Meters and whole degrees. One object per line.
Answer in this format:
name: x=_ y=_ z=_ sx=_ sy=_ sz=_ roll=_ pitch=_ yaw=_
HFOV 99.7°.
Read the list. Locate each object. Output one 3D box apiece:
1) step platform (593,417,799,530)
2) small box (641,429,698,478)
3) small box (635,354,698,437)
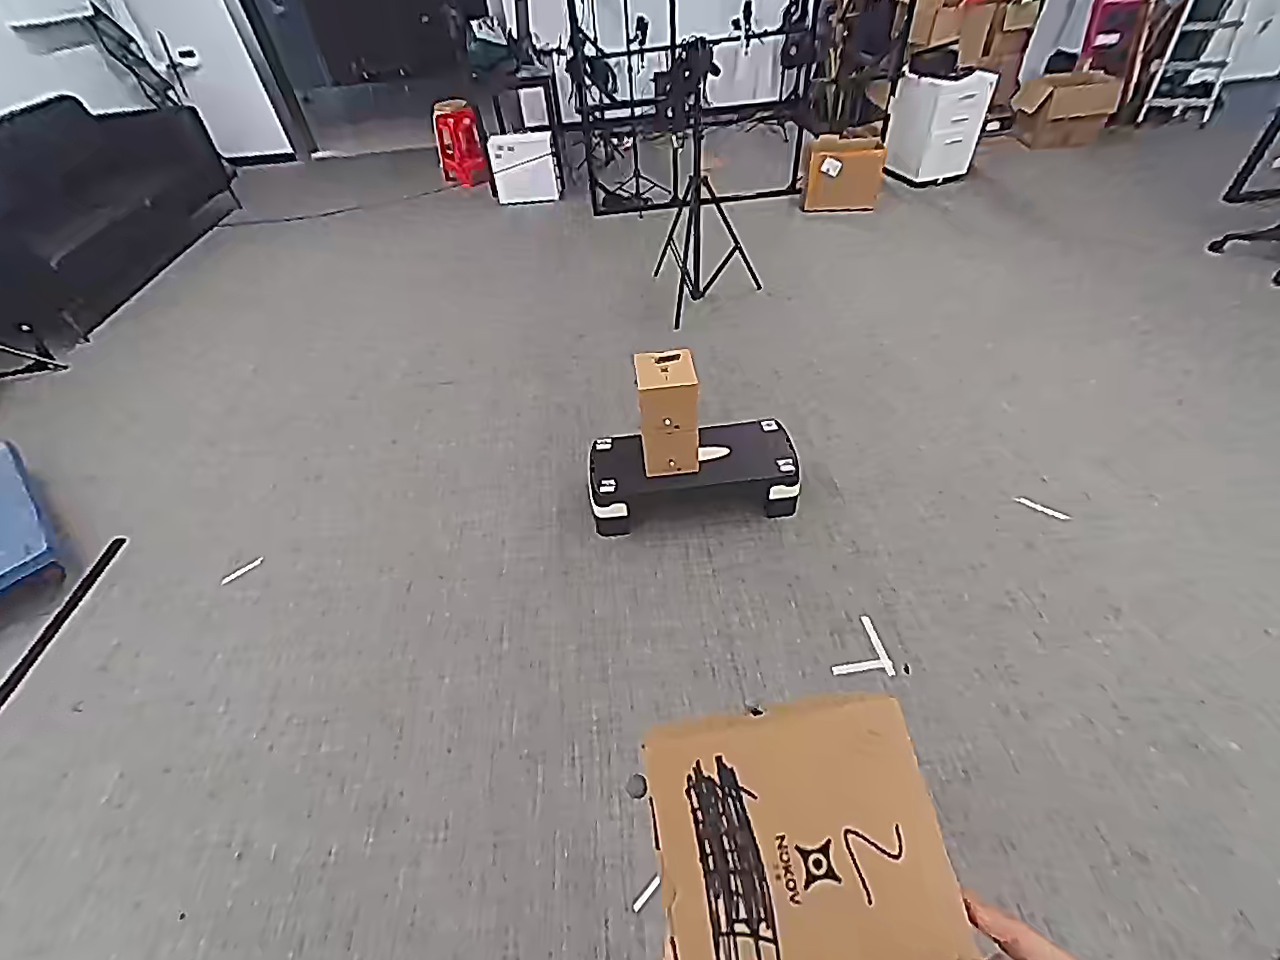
step platform: x=0.182 y=-0.028 z=1.835 sx=0.684 sy=0.204 sz=0.286 roll=-7 pitch=45 yaw=-1
small box: x=0.089 y=-0.128 z=1.698 sx=0.168 sy=0.176 sz=0.179 roll=-6 pitch=45 yaw=1
small box: x=0.075 y=-0.246 z=1.585 sx=0.168 sy=0.176 sz=0.179 roll=-6 pitch=45 yaw=0
